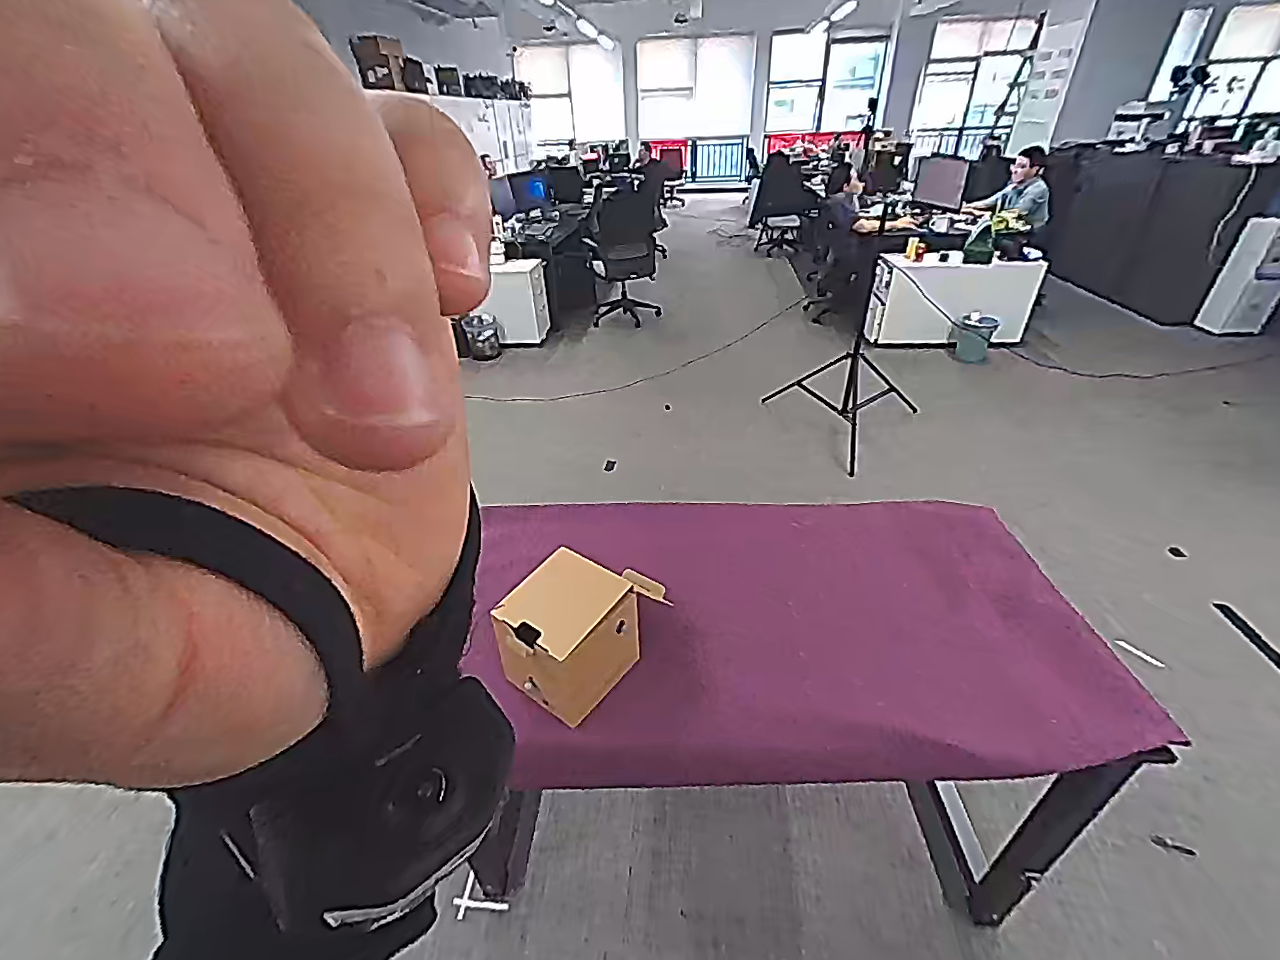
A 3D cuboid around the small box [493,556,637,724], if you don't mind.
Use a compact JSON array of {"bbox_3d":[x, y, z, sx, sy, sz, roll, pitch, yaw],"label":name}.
[{"bbox_3d":[-0.120,0.267,0.919,0.168,0.176,0.179,21,40,32],"label":"small box"}]
